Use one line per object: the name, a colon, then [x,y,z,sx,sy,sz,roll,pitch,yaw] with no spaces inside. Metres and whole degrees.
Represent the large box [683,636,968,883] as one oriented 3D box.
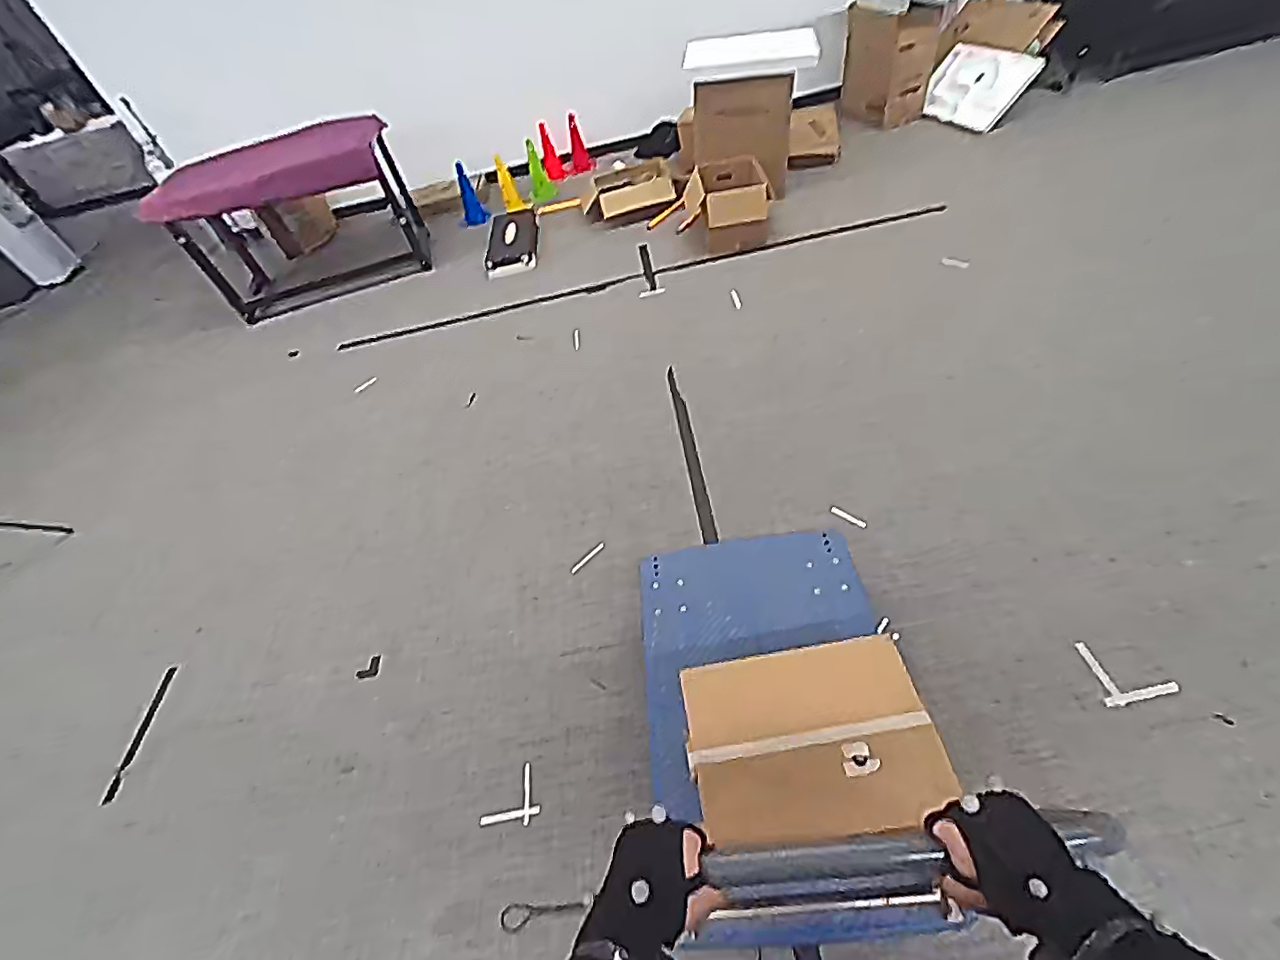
large box: [0.316,0.544,1.044,0.408,0.320,0.320,-11,49,2]
